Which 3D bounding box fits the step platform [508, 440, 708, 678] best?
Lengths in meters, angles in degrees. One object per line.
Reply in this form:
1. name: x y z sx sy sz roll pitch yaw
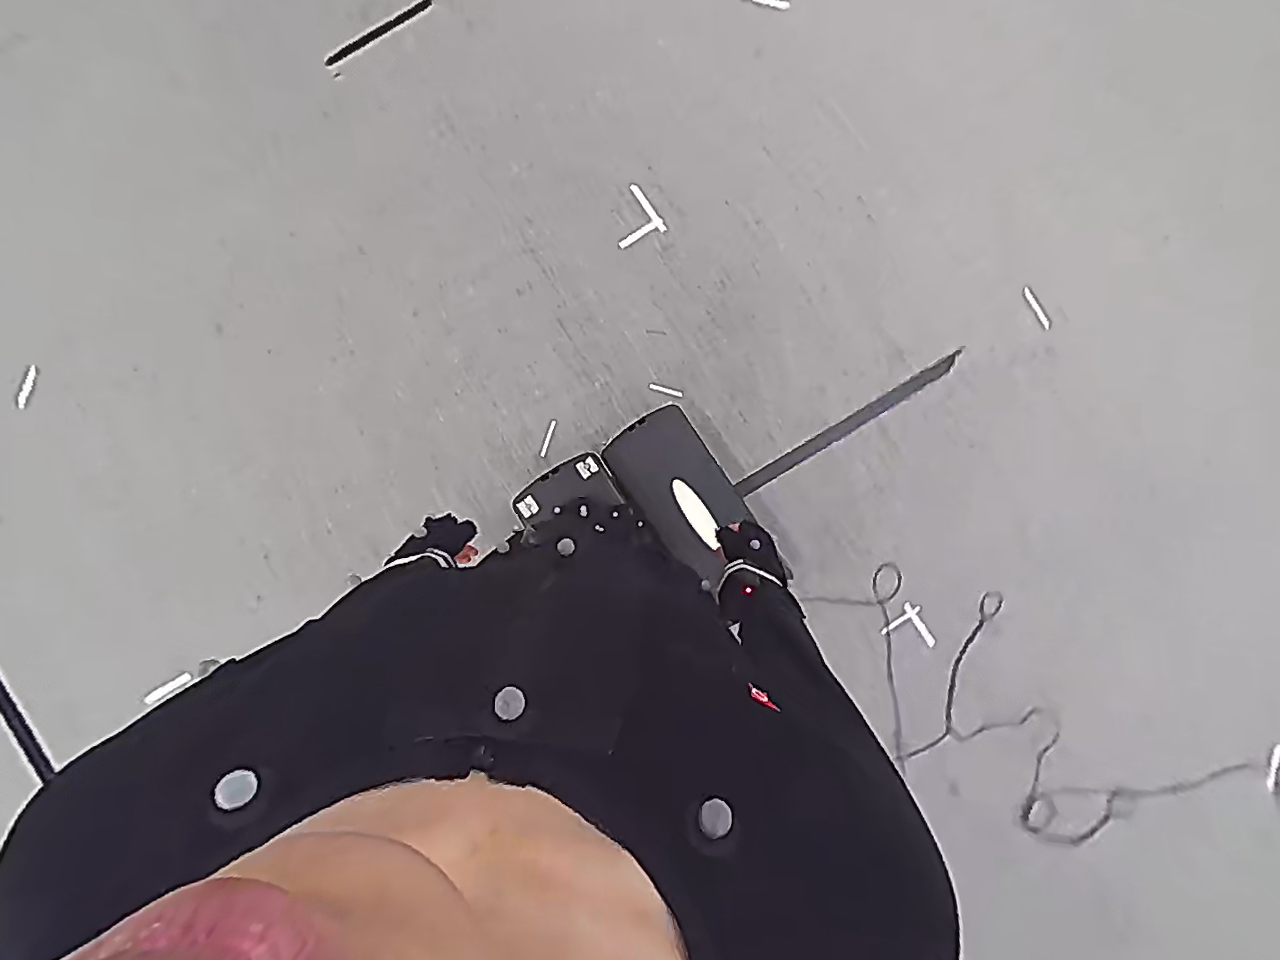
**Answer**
1. step platform: -0.091 0.221 1.575 0.286 0.204 0.684 -34 88 -2
